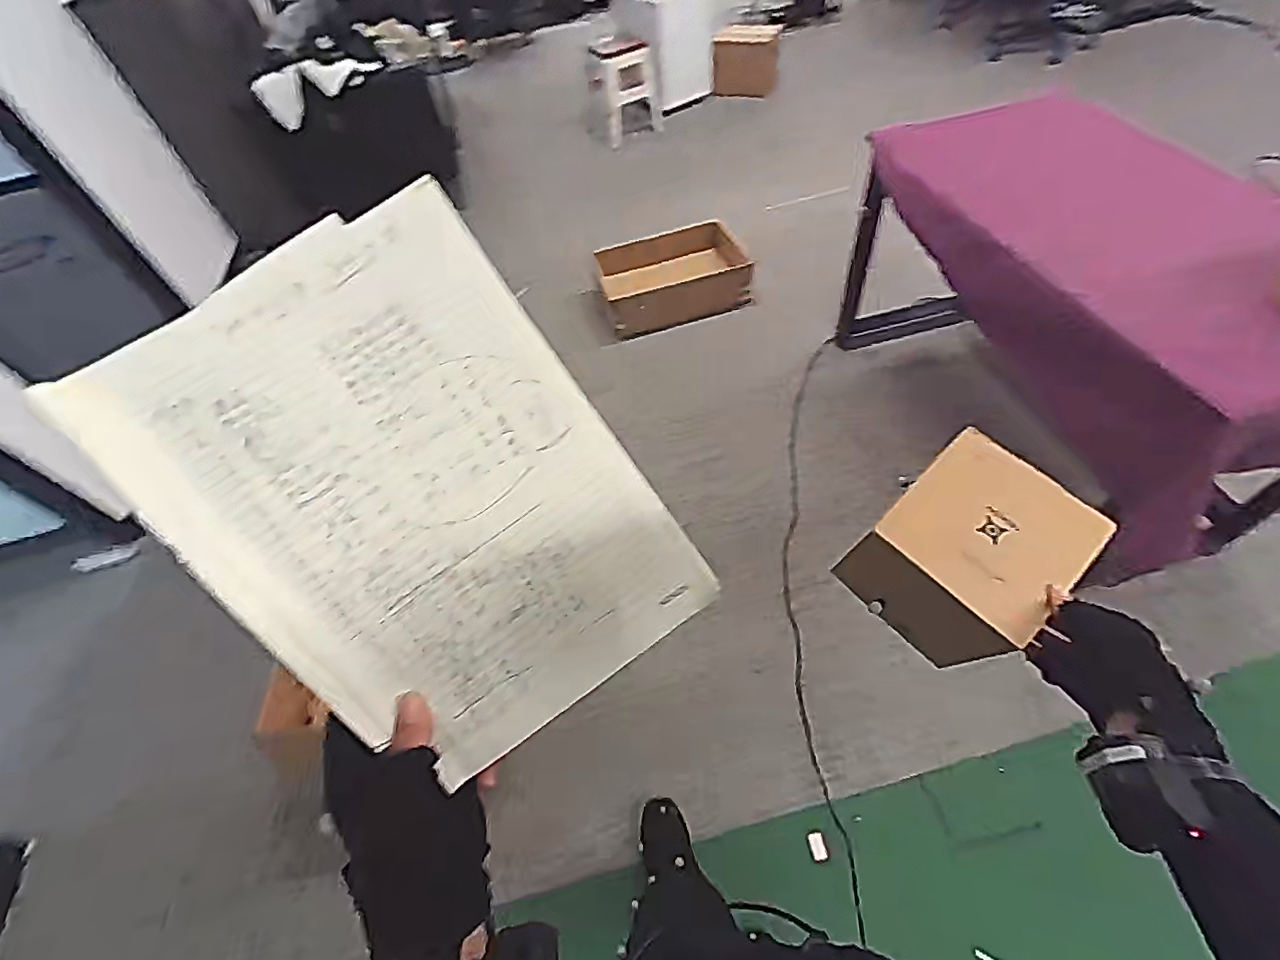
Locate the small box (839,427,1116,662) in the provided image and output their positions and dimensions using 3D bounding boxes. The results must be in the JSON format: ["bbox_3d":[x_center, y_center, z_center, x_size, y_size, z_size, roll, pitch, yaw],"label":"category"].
[{"bbox_3d":[0.355,0.080,0.608,0.179,0.176,0.168,-41,70,-14],"label":"small box"}]
